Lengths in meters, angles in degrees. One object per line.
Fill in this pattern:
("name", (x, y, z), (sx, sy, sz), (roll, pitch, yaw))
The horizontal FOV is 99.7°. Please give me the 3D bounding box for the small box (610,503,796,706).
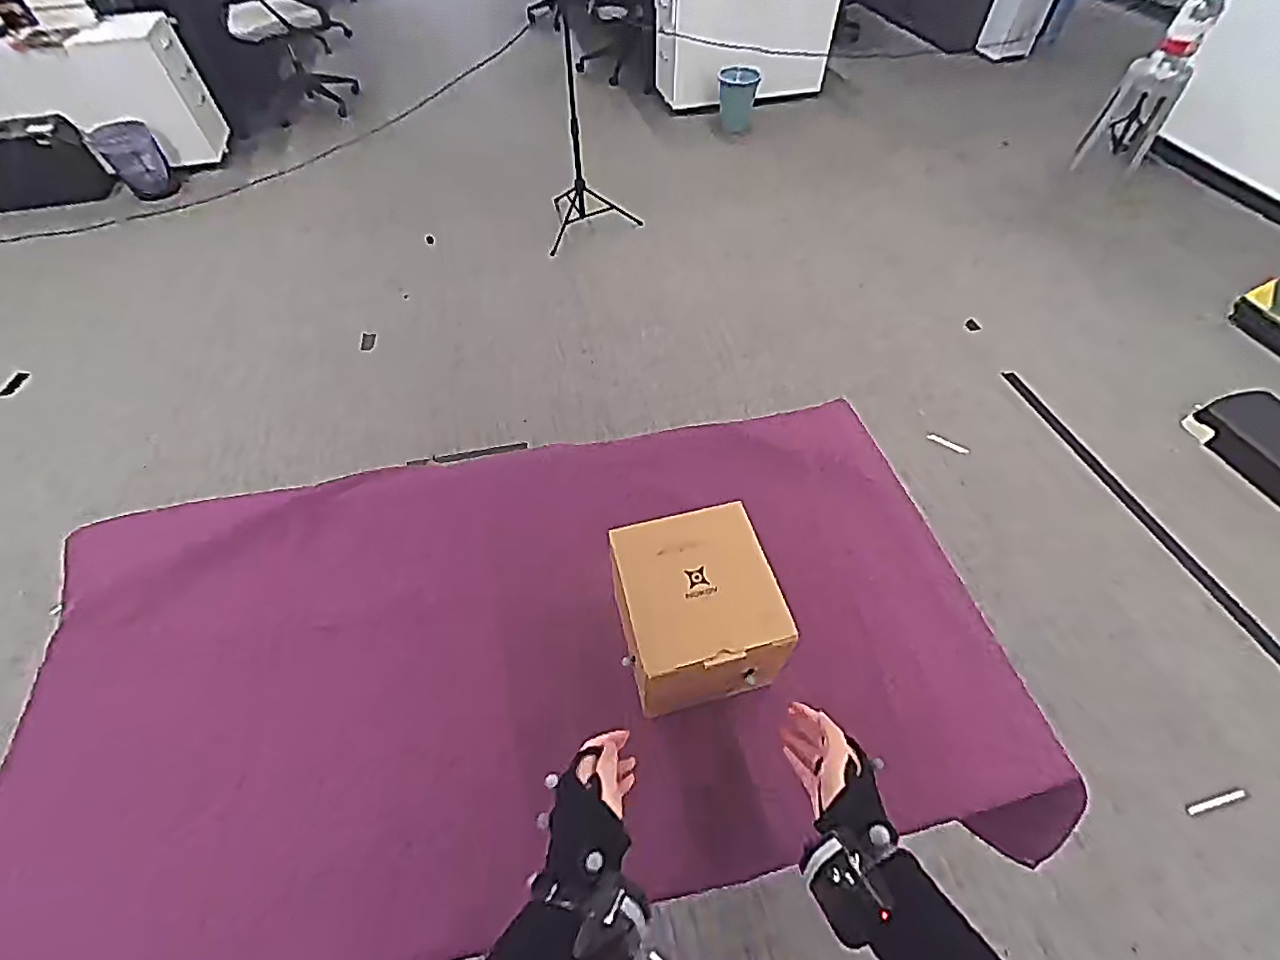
("small box", (0.064, 0.157, 0.653), (0.168, 0.176, 0.179), (-12, 54, -8))
